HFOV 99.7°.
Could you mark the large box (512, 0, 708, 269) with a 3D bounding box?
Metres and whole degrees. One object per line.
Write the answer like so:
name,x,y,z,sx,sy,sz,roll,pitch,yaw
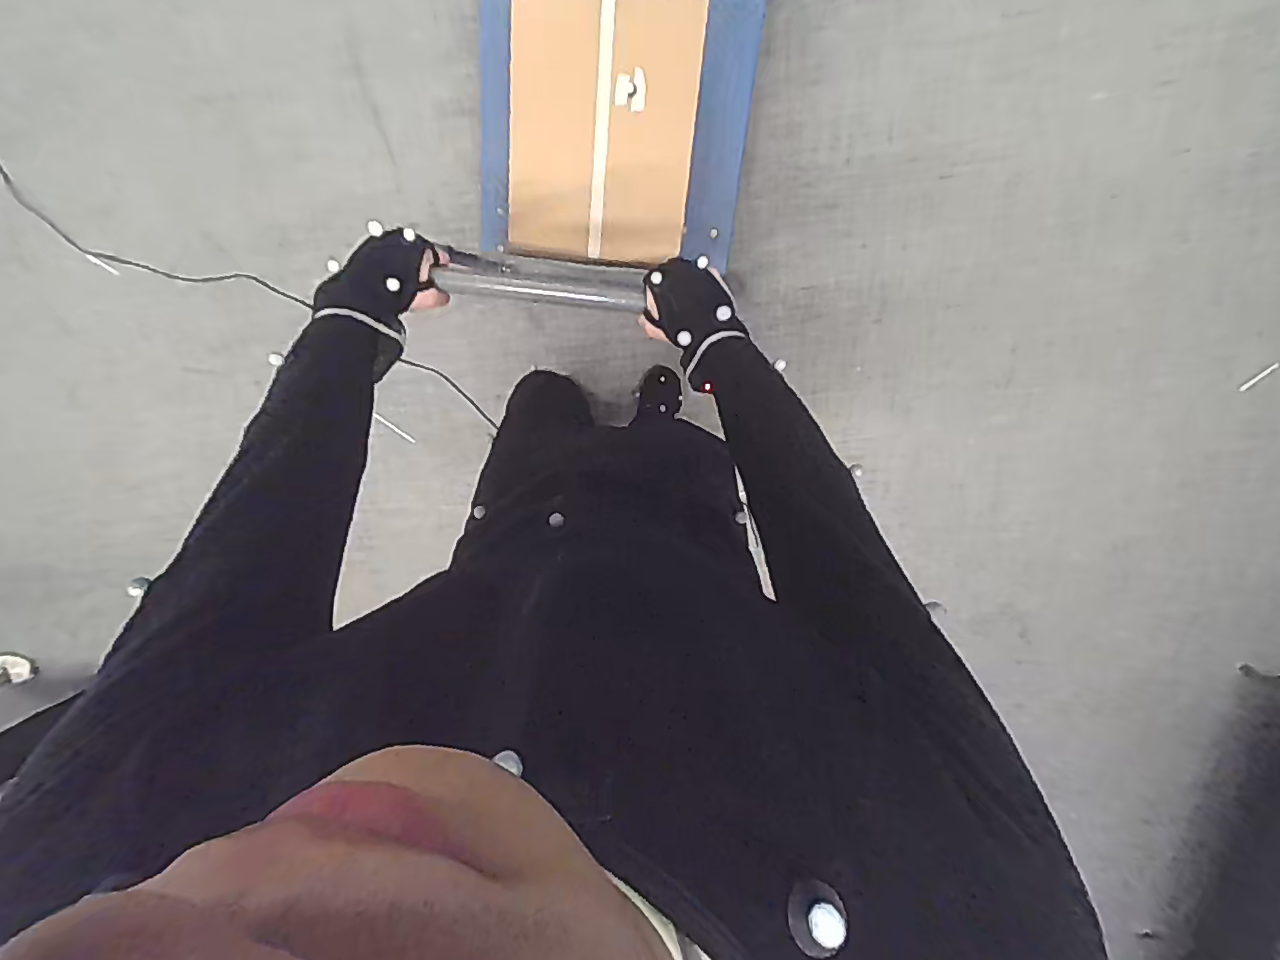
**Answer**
large box,-0.054,-0.639,1.053,0.320,0.320,0.408,7,111,0
